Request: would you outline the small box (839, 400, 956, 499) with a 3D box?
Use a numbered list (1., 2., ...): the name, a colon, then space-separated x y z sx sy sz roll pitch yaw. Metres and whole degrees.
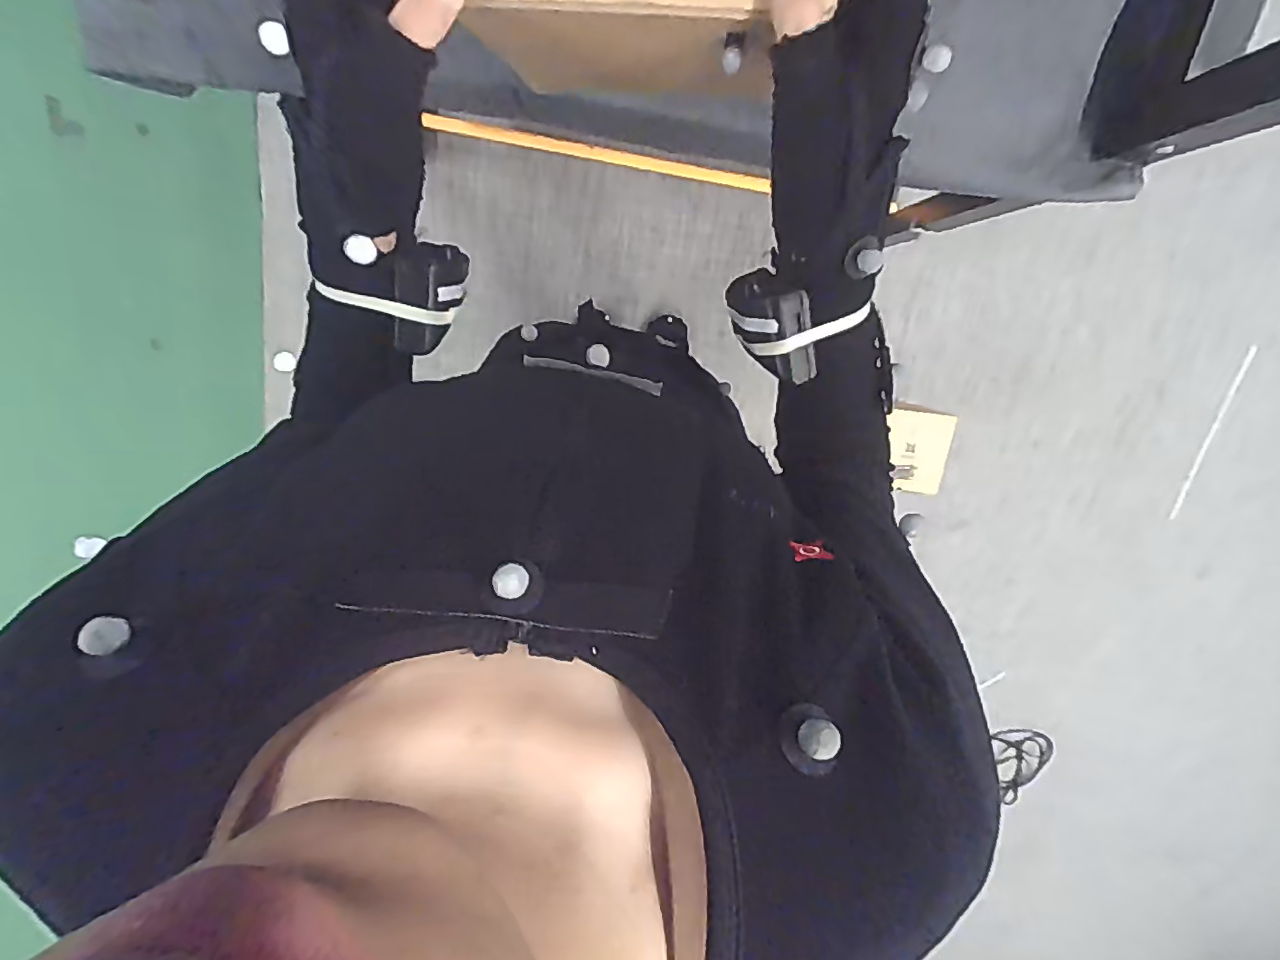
1. small box: 0.564 -0.074 1.214 0.168 0.176 0.179 7 105 -1
